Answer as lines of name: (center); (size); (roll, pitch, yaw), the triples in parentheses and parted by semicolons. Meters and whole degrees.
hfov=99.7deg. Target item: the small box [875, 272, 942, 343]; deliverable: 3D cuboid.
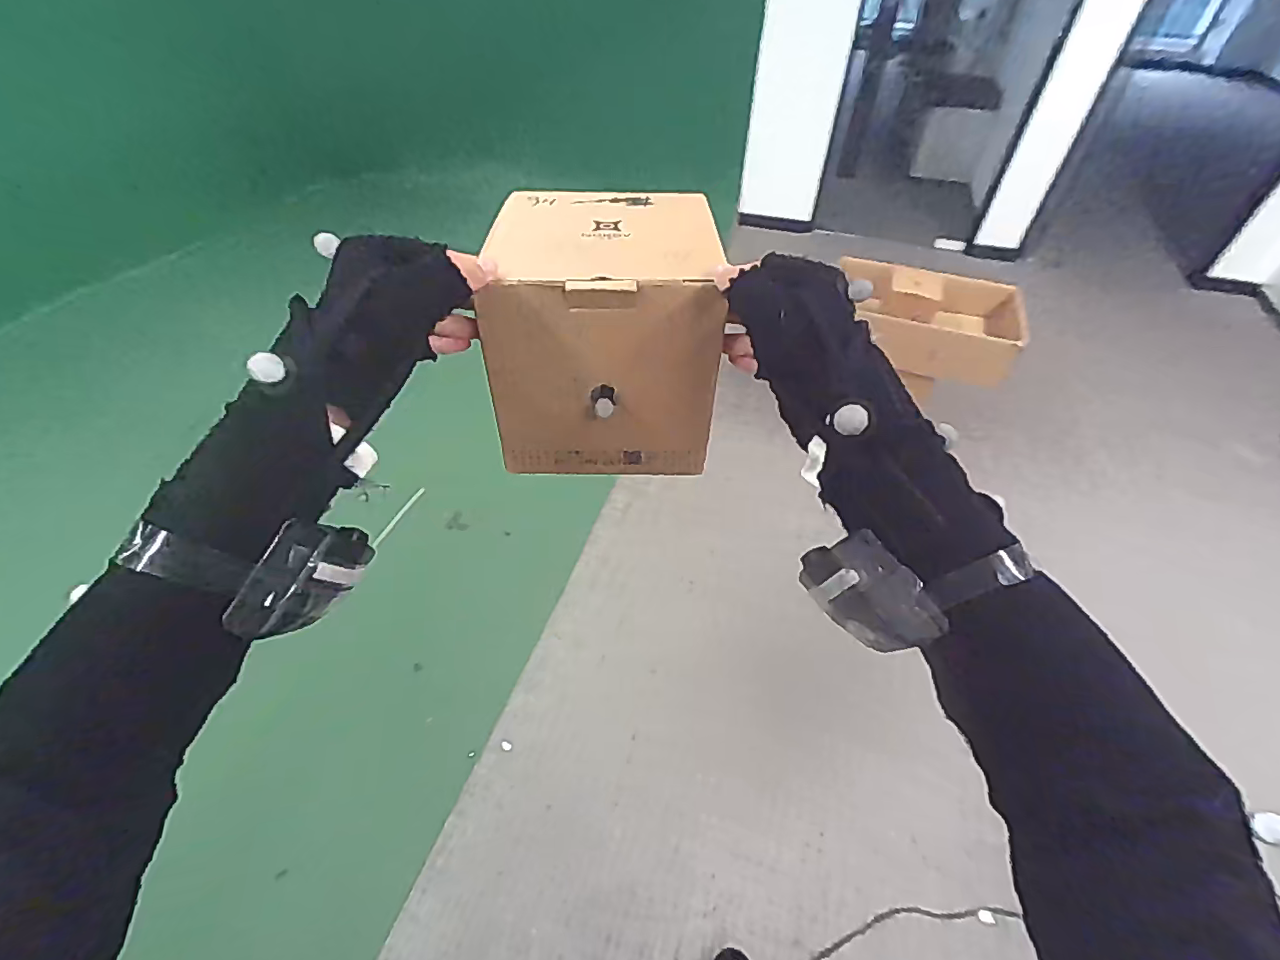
small box: (0.949, -0.609, 1.914); (0.168, 0.176, 0.179); (18, 47, 12)

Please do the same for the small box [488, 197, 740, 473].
small box: (-0.016, -0.120, 0.457); (0.168, 0.176, 0.179); (1, 45, -1)
